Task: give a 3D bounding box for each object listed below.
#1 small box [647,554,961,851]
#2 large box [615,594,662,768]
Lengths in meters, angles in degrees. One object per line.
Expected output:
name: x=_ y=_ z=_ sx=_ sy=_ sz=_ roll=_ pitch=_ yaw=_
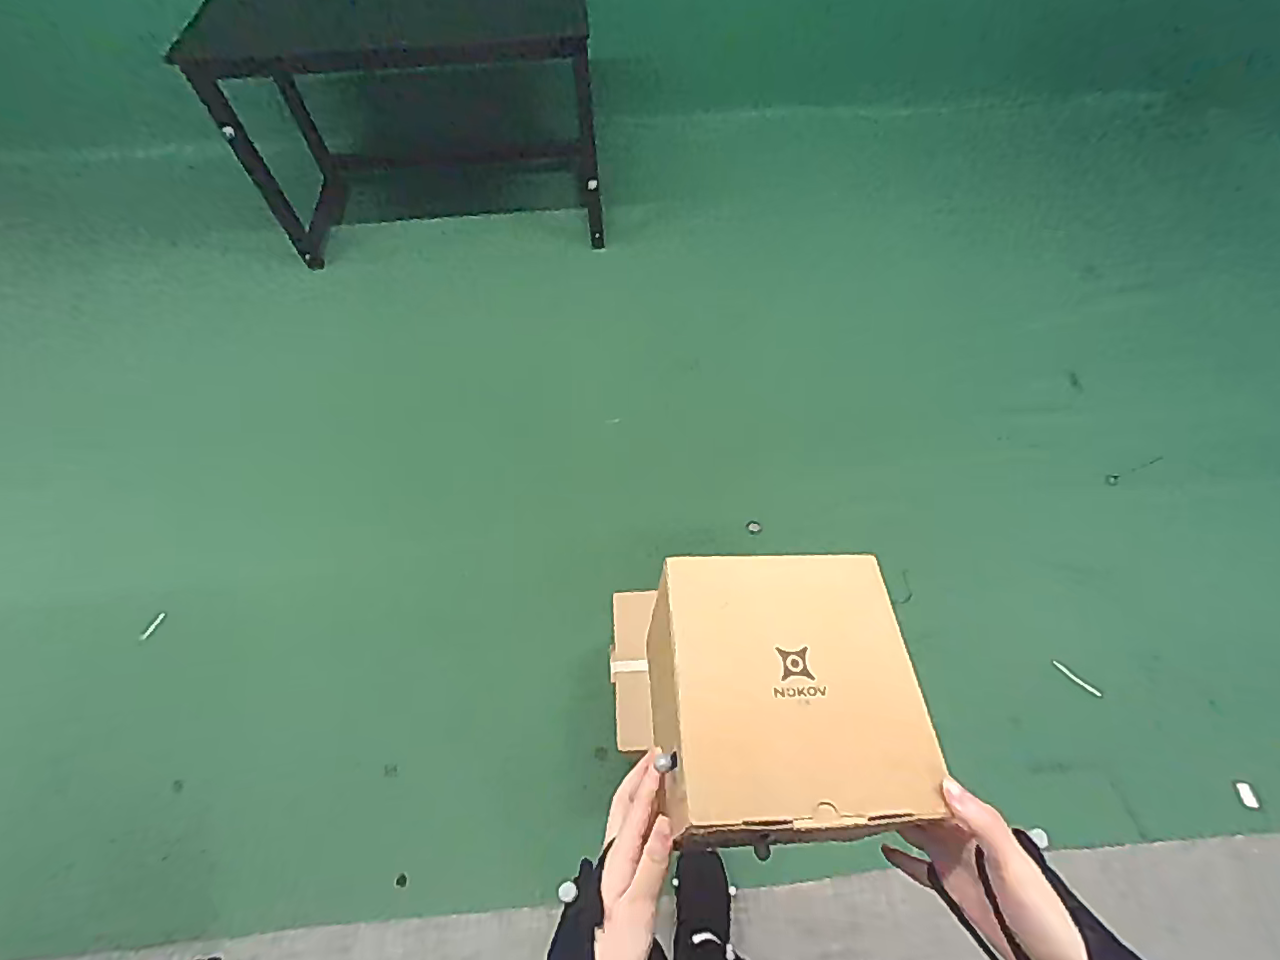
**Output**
small box: x=0.096 y=0.174 z=0.420 sx=0.168 sy=0.176 sz=0.179 roll=0 pitch=53 yaw=-5
large box: x=0.154 y=0.450 z=1.212 sx=0.408 sy=0.320 sz=0.320 roll=-3 pitch=59 yaw=-1
